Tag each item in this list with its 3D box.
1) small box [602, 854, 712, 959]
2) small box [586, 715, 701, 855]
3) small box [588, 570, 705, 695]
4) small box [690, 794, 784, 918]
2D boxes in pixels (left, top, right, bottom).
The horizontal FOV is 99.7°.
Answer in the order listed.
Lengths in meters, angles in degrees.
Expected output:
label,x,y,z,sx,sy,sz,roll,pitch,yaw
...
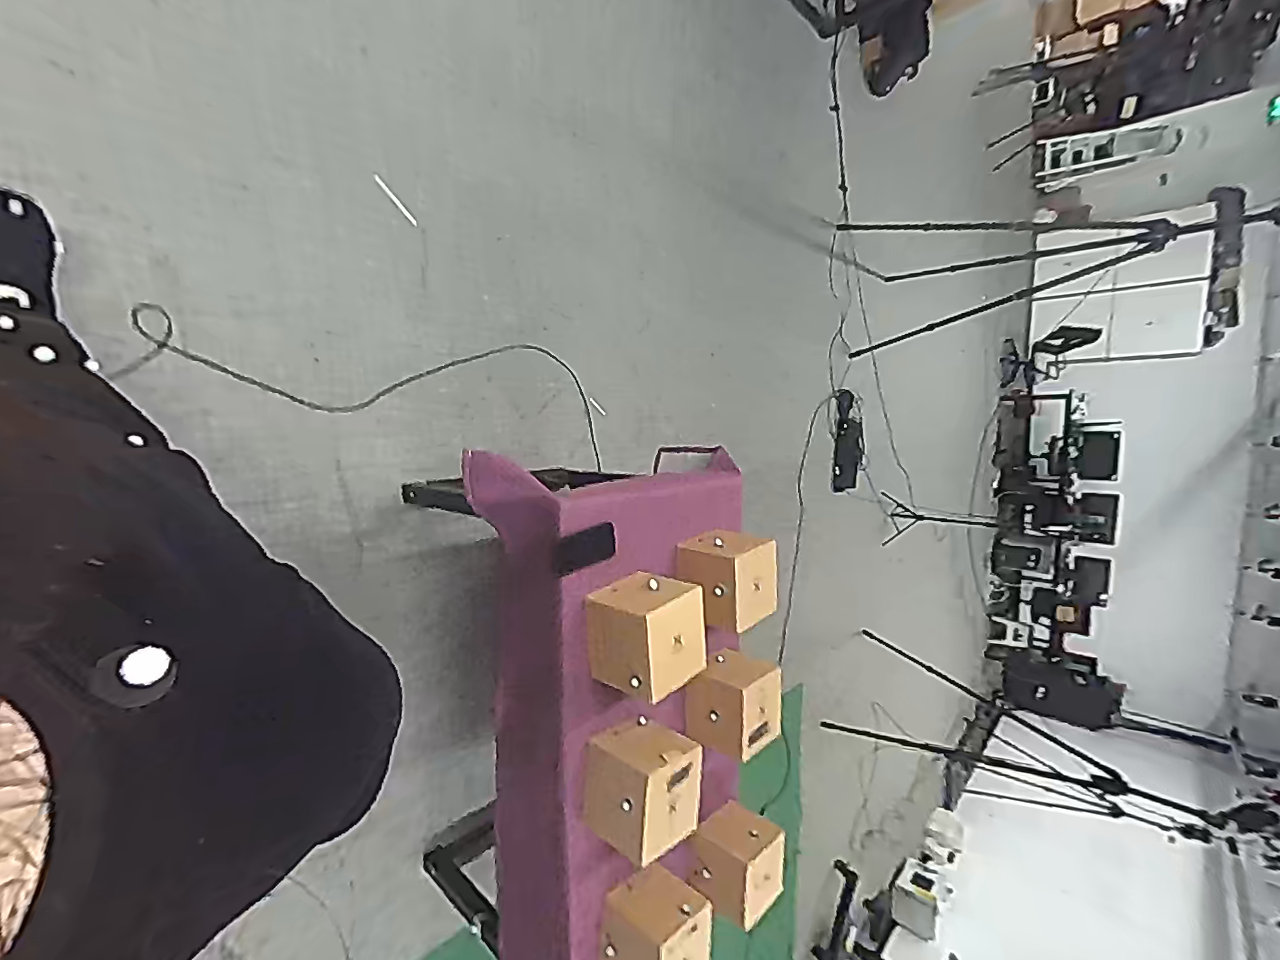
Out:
label,x,y,z,sx,sy,sz,roll,pitch,yaw
small box,0.034,0.967,1.168,0.168,0.176,0.179,3,92,-47
small box,0.006,0.602,1.103,0.168,0.176,0.179,1,94,-47
small box,0.011,0.290,1.080,0.168,0.176,0.179,-16,106,-45
small box,0.250,0.955,1.396,0.179,0.176,0.168,-2,95,-46
